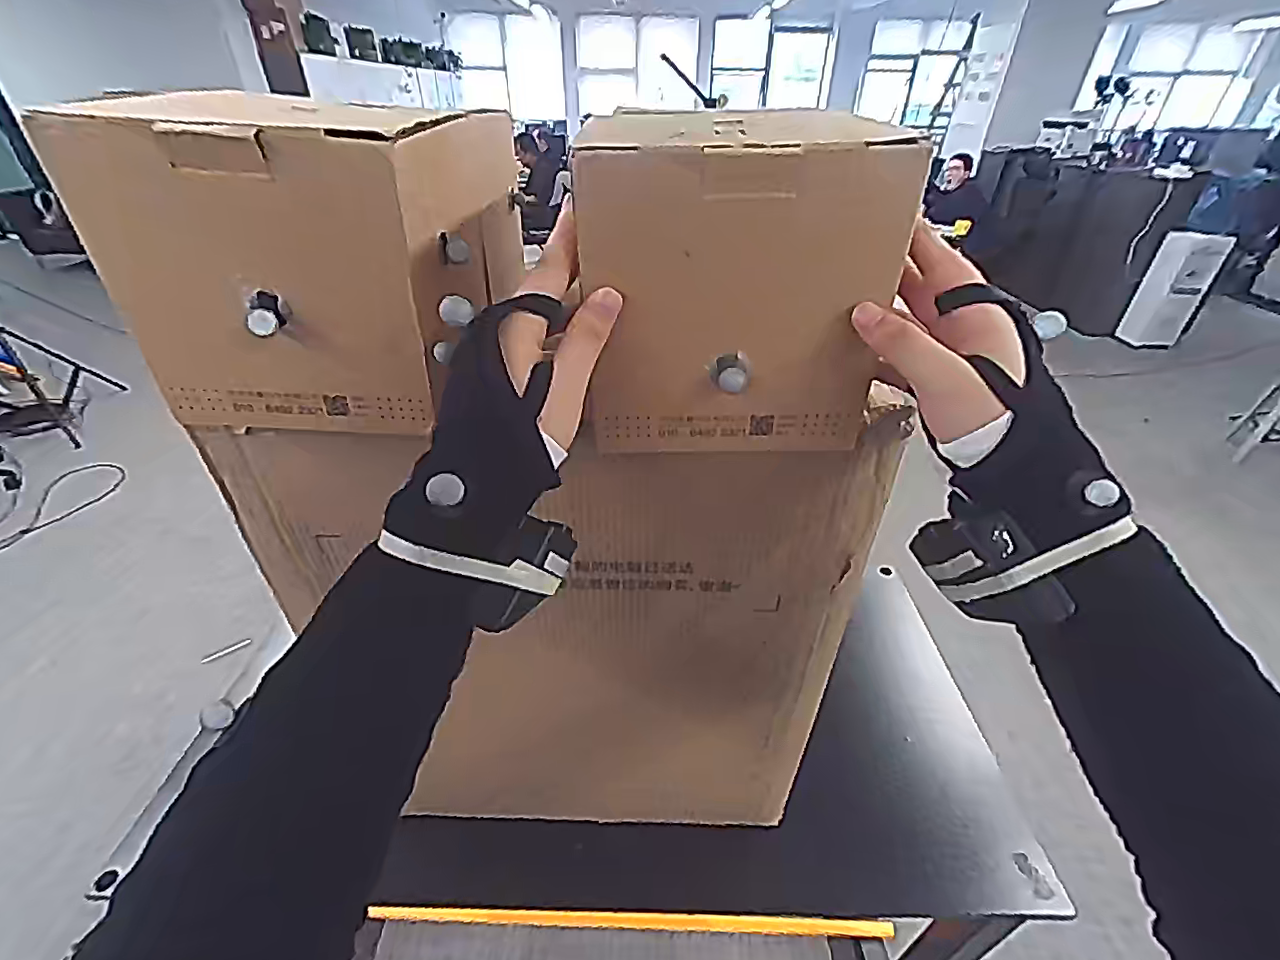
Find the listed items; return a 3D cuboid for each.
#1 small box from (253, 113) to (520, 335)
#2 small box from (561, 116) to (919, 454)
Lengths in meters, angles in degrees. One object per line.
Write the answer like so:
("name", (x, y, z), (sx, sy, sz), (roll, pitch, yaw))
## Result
("small box", (-0.217, -0.251, 0.525), (0.168, 0.176, 0.179), (0, 35, -1))
("small box", (0.047, -0.133, 0.358), (0.168, 0.176, 0.179), (-1, 38, 1))
